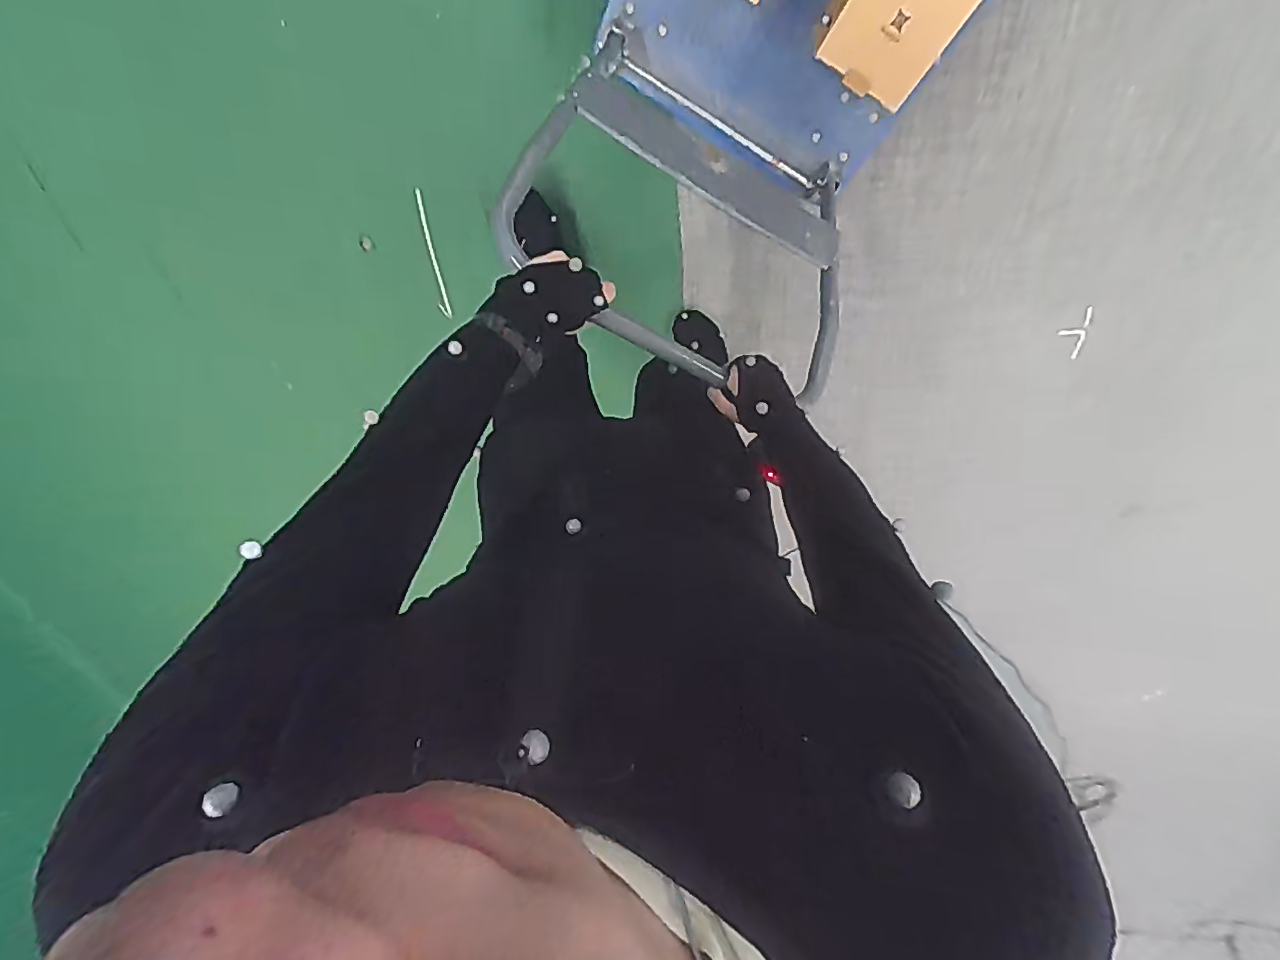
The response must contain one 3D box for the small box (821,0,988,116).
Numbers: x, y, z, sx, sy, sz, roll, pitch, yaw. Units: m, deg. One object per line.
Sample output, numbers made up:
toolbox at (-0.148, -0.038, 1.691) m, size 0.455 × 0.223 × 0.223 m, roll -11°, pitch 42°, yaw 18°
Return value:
small box at (0.403, -0.737, 0.856) m, size 0.168 × 0.176 × 0.179 m, roll 26°, pitch 140°, yaw -14°
